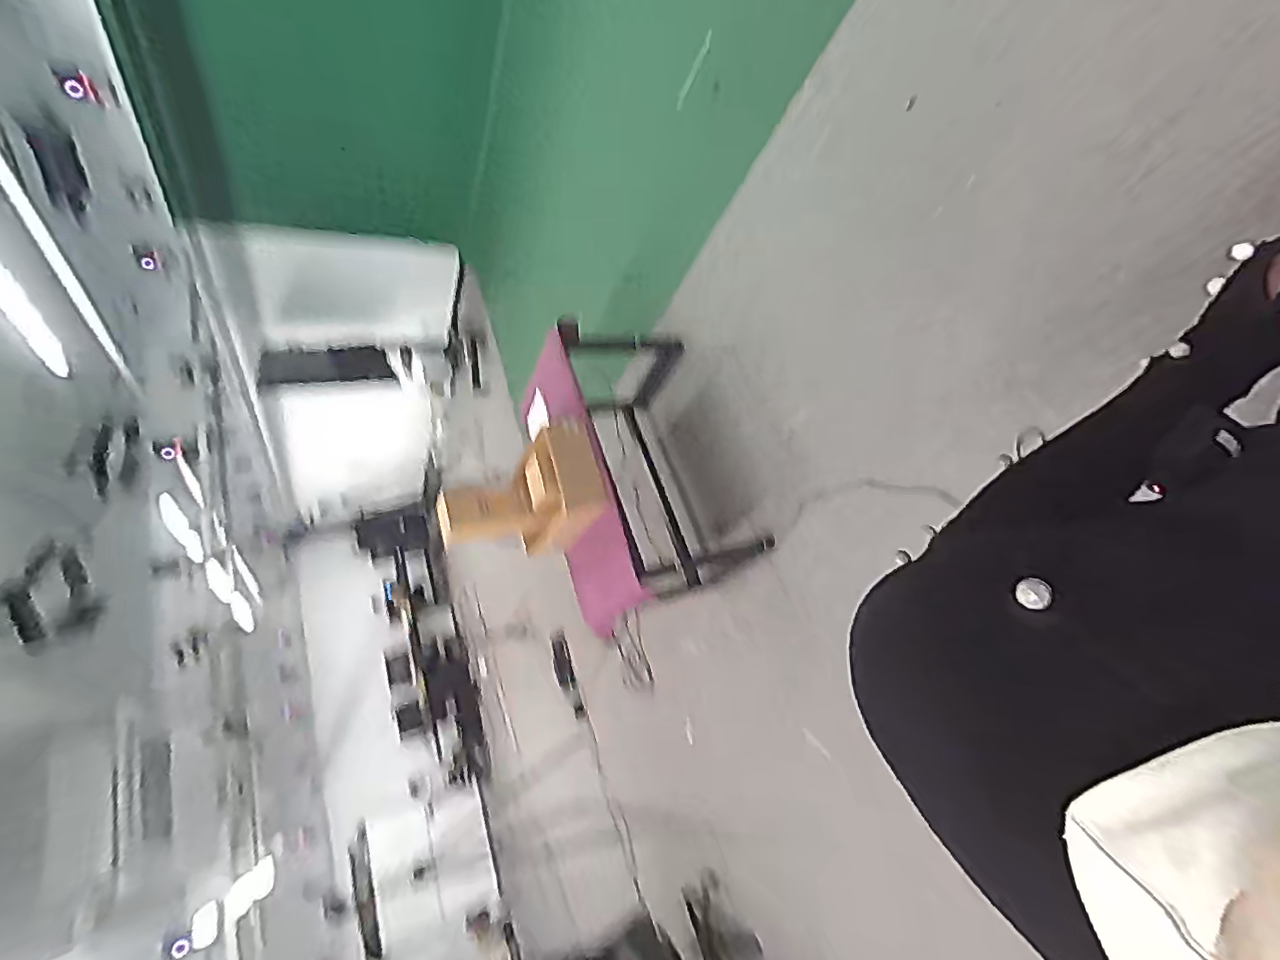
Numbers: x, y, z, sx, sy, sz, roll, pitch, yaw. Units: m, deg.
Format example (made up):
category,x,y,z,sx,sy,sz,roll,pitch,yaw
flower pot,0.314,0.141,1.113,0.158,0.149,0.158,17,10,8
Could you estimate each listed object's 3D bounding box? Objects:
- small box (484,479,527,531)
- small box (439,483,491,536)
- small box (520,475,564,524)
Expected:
category,x,y,z,sx,sy,sz,roll,pitch,yaw
small box,-0.605,0.109,2.381,0.179,0.176,0.168,-48,55,52
small box,-0.744,0.124,2.298,0.179,0.176,0.168,-47,57,51
small box,-0.462,0.089,2.459,0.179,0.176,0.168,-46,57,51
